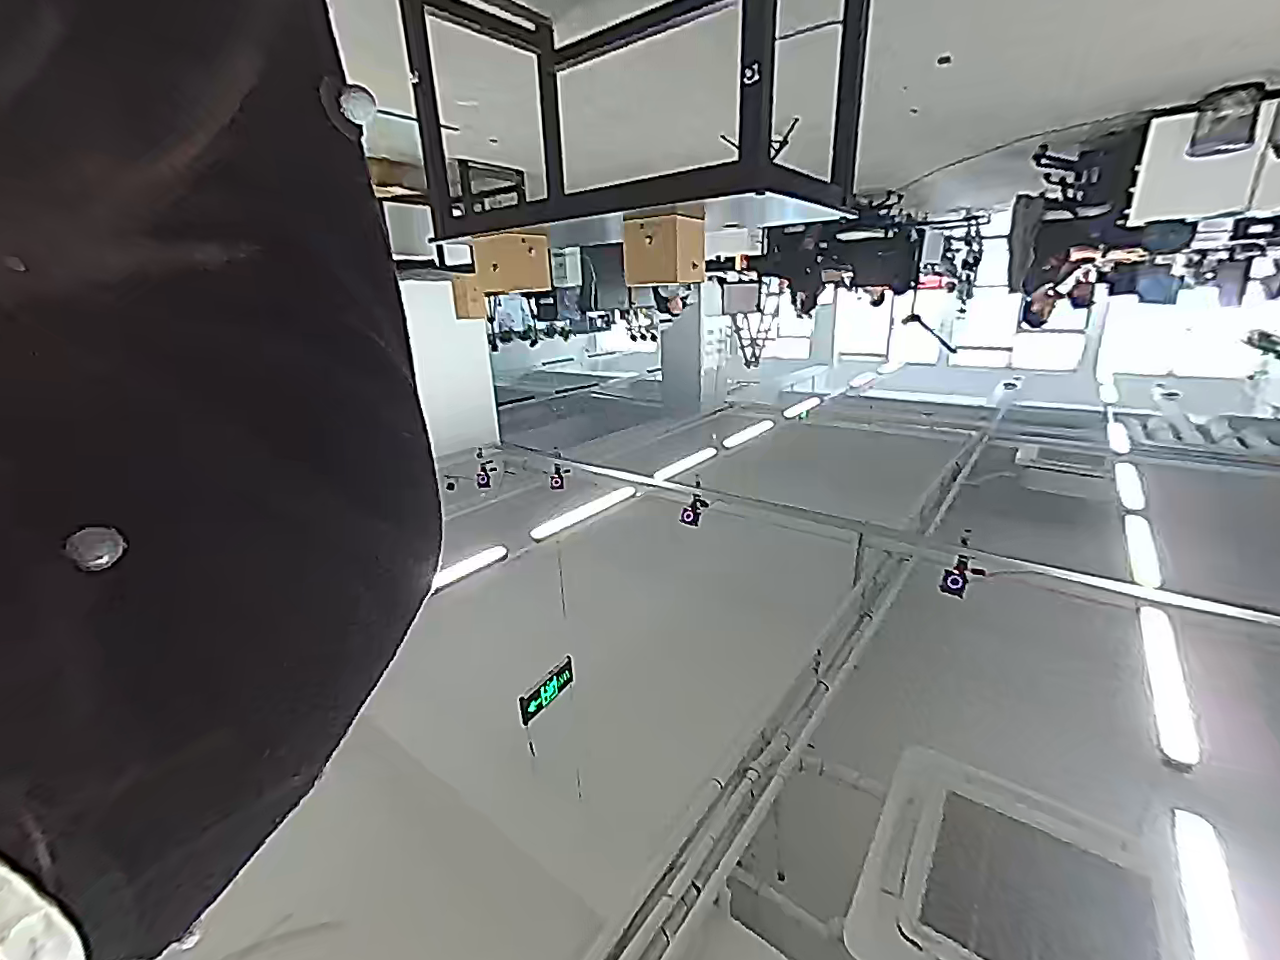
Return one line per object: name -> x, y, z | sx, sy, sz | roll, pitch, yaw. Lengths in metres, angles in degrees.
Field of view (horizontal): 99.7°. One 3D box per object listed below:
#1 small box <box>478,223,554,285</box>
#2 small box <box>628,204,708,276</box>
small box -> -0.400, -0.720, 1.733 | 0.179, 0.176, 0.168 | 10, -156, 34
small box -> 0.081, -0.656, 1.489 | 0.168, 0.176, 0.179 | 9, -157, 31
